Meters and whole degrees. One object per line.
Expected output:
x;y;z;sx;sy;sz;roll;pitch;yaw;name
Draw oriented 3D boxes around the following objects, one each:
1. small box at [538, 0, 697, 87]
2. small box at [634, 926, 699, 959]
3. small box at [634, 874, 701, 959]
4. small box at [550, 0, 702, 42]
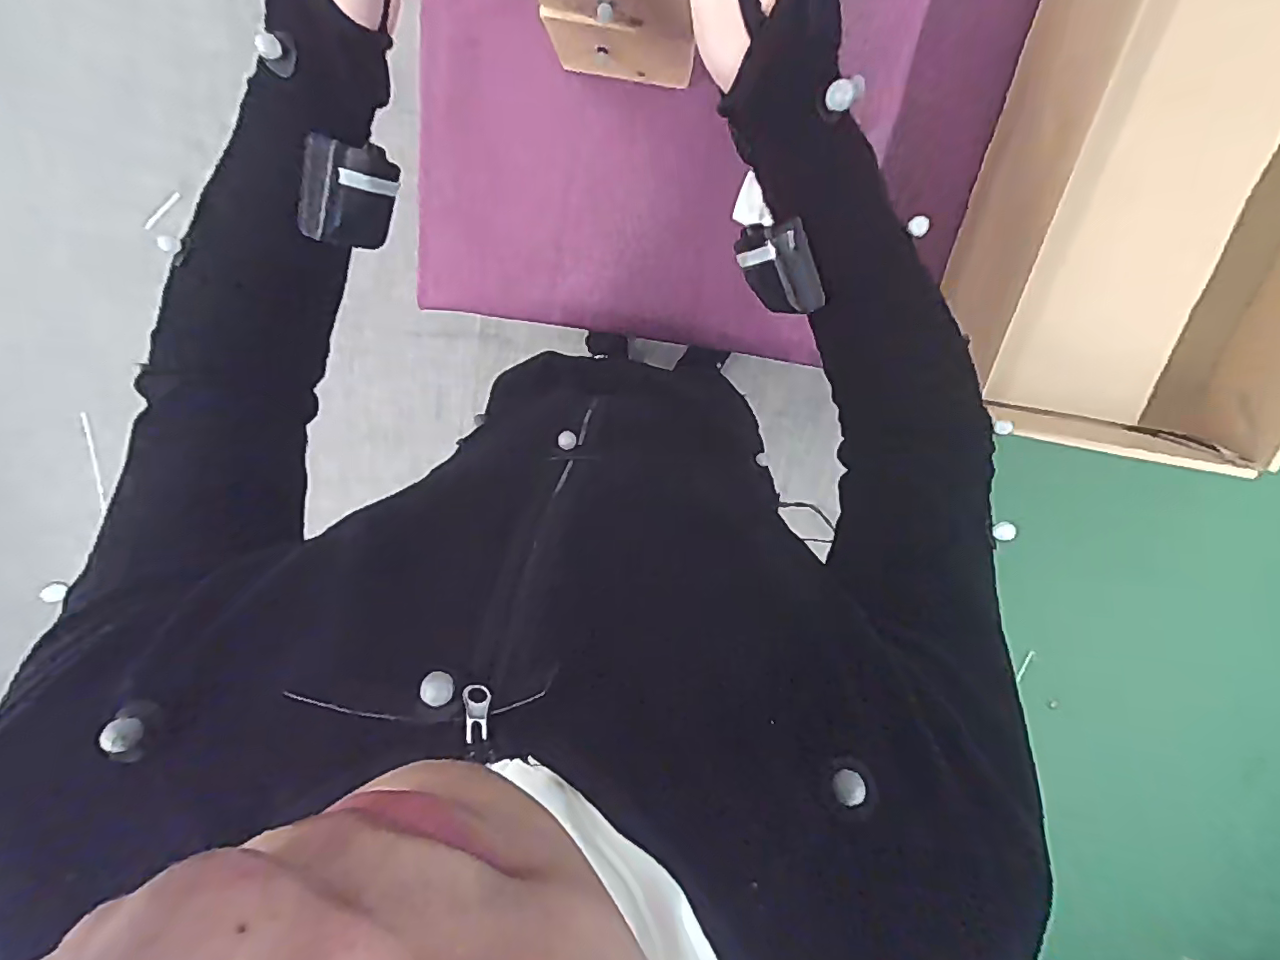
-0.010;-0.576;0.606;0.168;0.176;0.179;8;110;-2;small box
0.085;1.518;1.650;0.168;0.176;0.179;-20;107;7;small box
0.093;1.469;1.805;0.179;0.176;0.168;-21;108;9;small box
-0.007;-0.519;0.451;0.168;0.176;0.179;13;111;-3;small box
